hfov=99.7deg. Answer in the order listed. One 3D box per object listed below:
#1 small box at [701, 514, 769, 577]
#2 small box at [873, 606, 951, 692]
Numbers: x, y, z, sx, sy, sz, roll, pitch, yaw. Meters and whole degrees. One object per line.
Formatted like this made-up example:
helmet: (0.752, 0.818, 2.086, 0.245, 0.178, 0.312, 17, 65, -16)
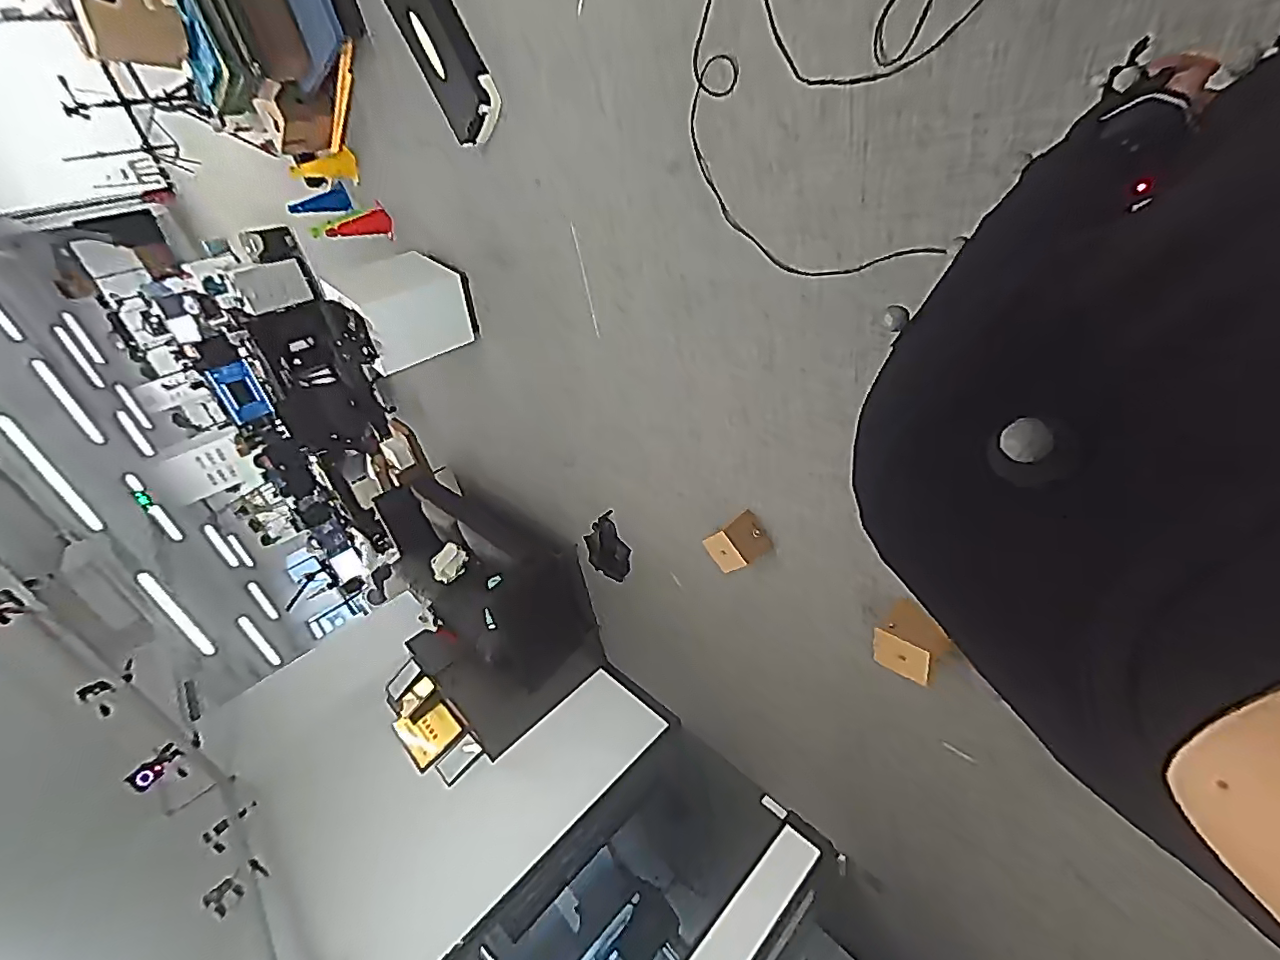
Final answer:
small box: (0.389, 0.265, 2.196, 0.168, 0.176, 0.179, 53, 148, 4)
small box: (0.880, 0.538, 1.751, 0.179, 0.176, 0.168, 22, 135, 45)
